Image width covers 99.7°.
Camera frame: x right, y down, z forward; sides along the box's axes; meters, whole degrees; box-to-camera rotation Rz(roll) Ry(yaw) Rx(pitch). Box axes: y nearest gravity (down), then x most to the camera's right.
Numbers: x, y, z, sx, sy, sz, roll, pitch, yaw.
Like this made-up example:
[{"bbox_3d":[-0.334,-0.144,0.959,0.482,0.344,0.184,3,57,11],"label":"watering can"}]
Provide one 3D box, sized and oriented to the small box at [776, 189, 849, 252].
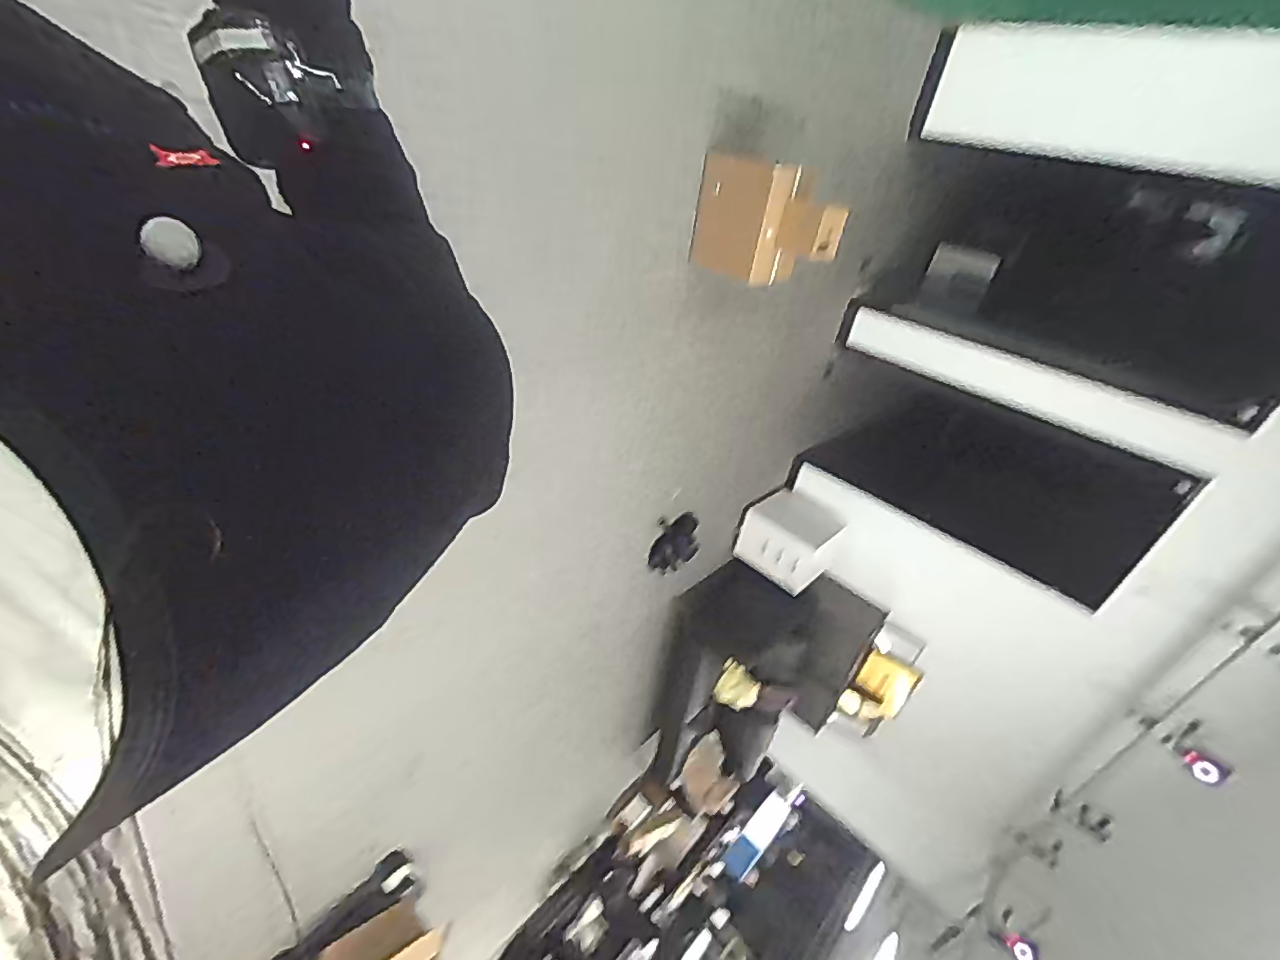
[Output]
[{"bbox_3d":[0.627,-0.951,1.984,0.168,0.176,0.179,-21,134,-35],"label":"small box"}]
